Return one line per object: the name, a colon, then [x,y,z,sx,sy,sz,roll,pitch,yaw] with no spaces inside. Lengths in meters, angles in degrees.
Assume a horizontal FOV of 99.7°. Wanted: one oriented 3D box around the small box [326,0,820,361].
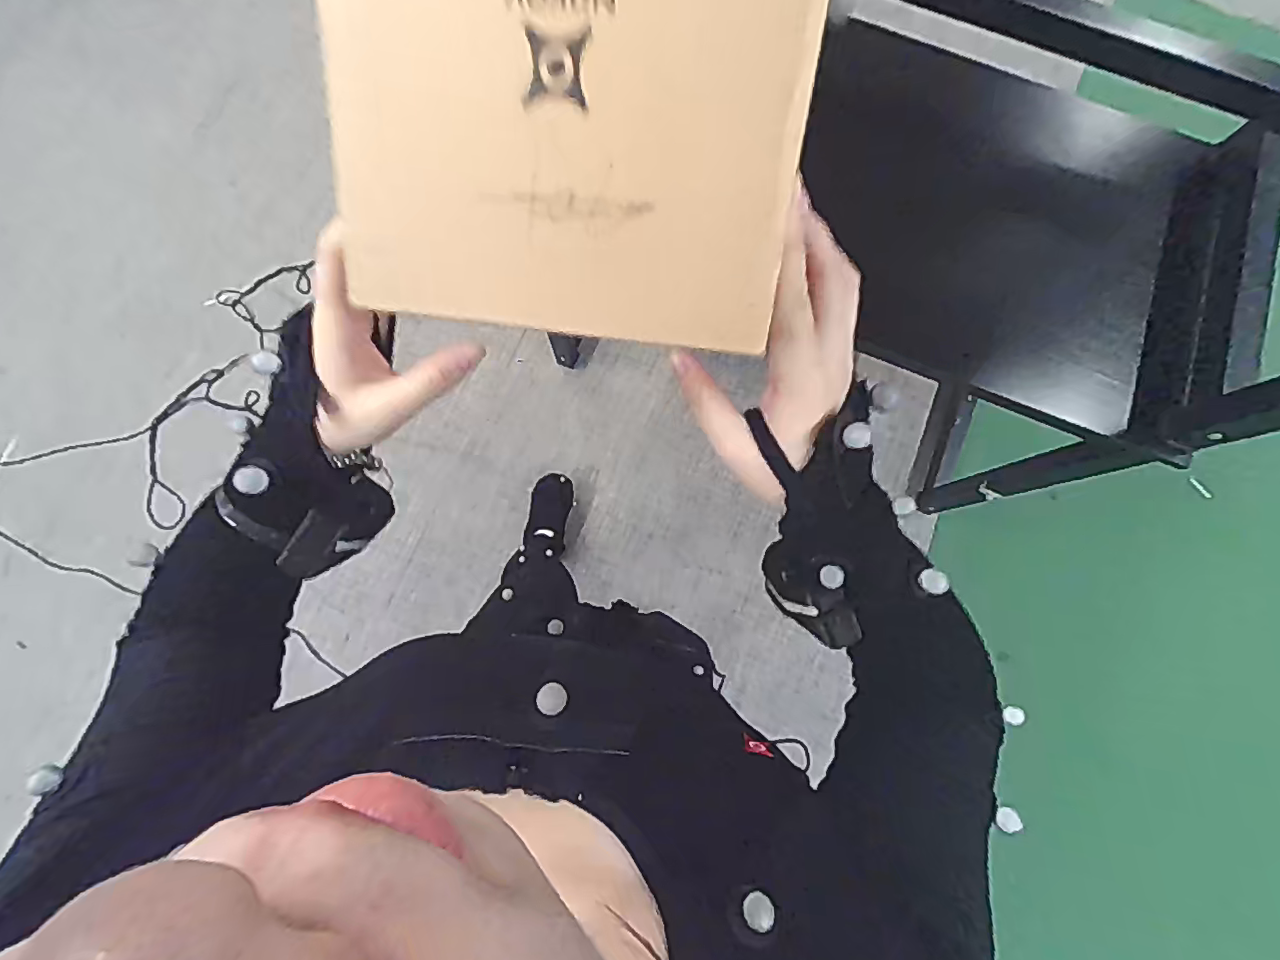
small box: [-0.015,-0.168,0.255,0.168,0.176,0.179,10,114,7]
